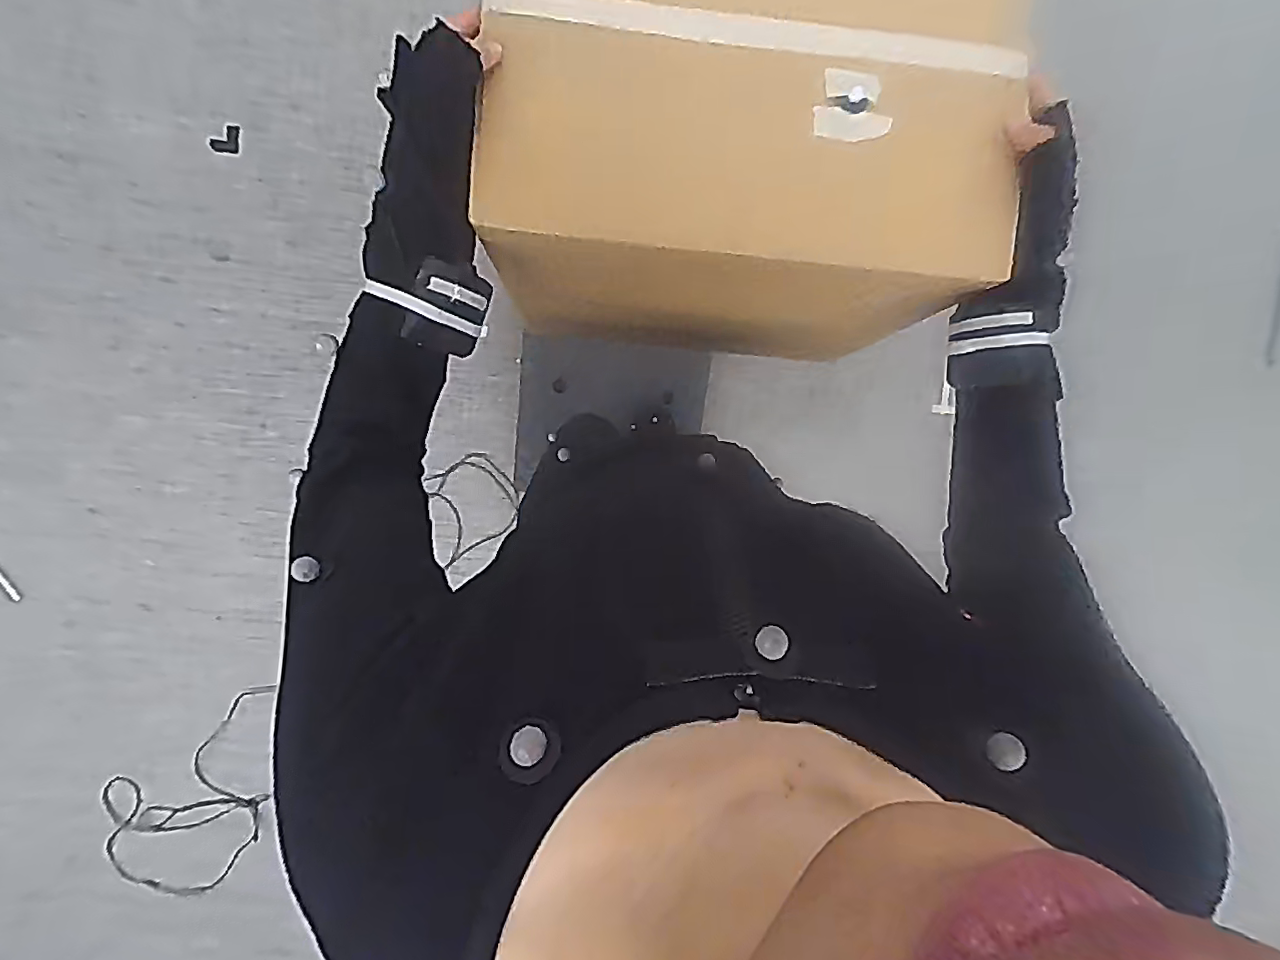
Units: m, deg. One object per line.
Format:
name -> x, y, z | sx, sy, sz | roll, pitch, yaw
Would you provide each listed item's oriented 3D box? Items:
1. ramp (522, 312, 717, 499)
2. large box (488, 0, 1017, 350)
ramp -> -0.032, -0.446, 1.384 | 0.509, 0.206, 0.991 | 4, 95, -5
large box -> 0.080, -0.333, 0.558 | 0.408, 0.320, 0.320 | 4, 91, -4
